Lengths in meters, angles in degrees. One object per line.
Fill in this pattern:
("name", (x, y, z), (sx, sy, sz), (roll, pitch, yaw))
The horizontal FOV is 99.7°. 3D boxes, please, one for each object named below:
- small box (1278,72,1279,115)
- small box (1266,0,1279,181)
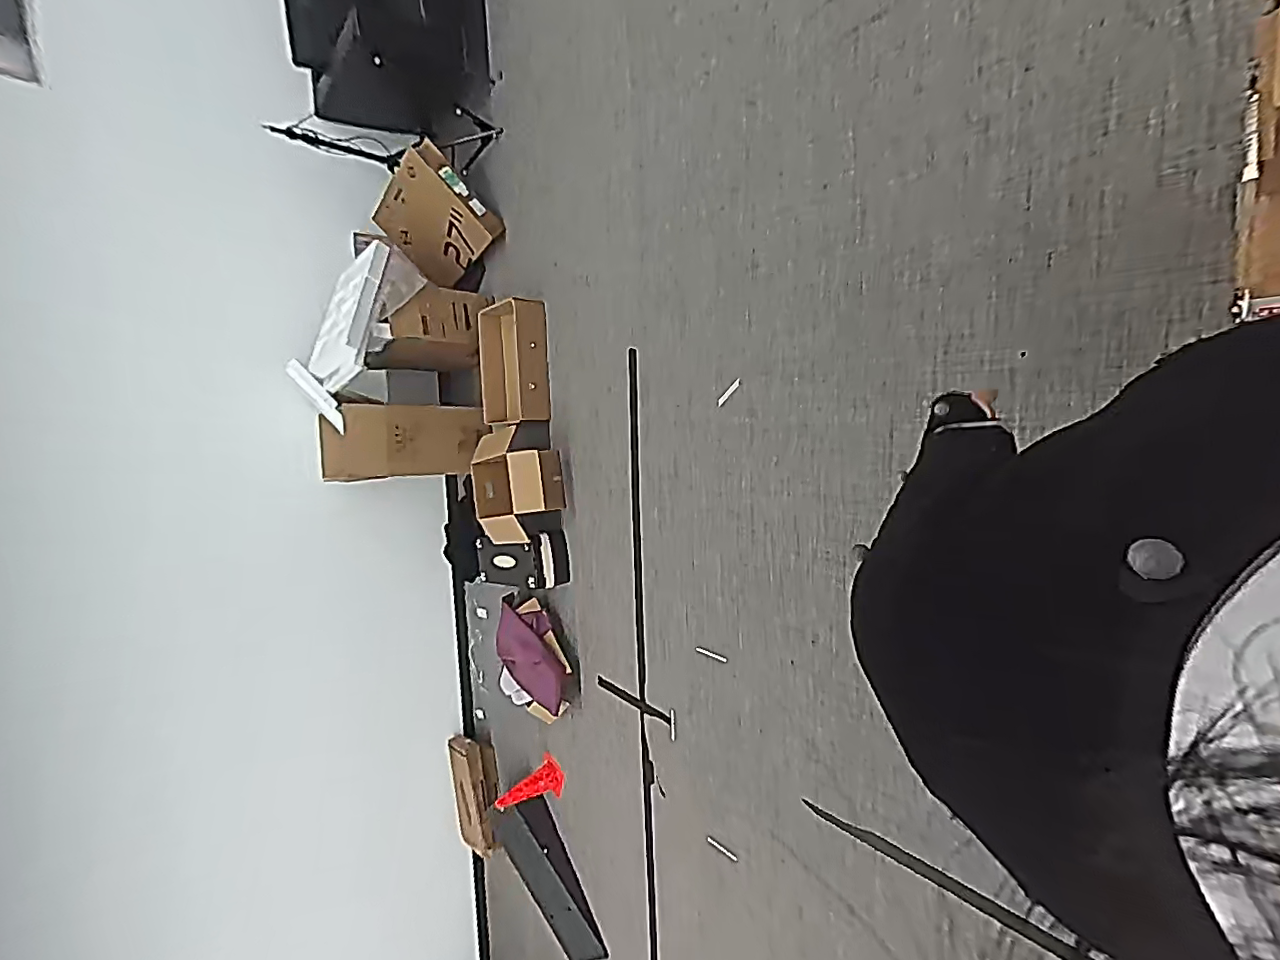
("small box", (0.640, -0.402, 0.427), (0.168, 0.176, 0.179), (6, 103, 51))
("small box", (0.756, -0.427, 0.542), (0.168, 0.176, 0.179), (1, 98, 51))
